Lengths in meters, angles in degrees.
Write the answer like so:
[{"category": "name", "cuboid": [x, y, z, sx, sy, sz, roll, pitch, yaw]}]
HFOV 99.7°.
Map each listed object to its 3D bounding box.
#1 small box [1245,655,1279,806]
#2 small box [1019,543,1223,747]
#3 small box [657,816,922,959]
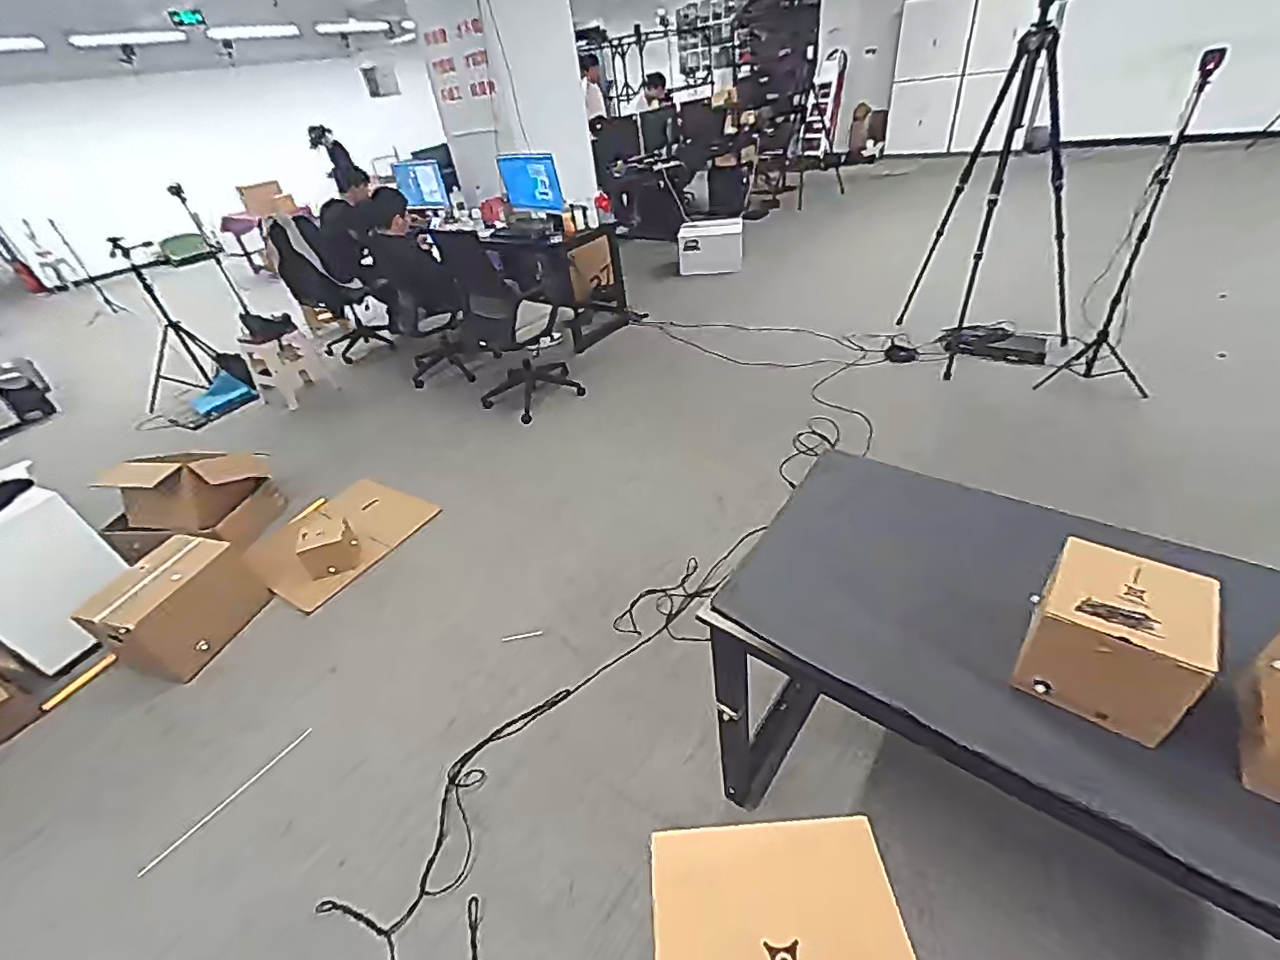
[{"category": "small box", "cuboid": [0.843, 0.293, 0.614, 0.168, 0.176, 0.179, 19, 44, 34]}, {"category": "small box", "cuboid": [0.655, 0.225, 0.750, 0.168, 0.176, 0.179, 22, 45, 35]}, {"category": "small box", "cuboid": [0.100, 0.372, 0.378, 0.168, 0.176, 0.179, -5, 34, 1]}]
